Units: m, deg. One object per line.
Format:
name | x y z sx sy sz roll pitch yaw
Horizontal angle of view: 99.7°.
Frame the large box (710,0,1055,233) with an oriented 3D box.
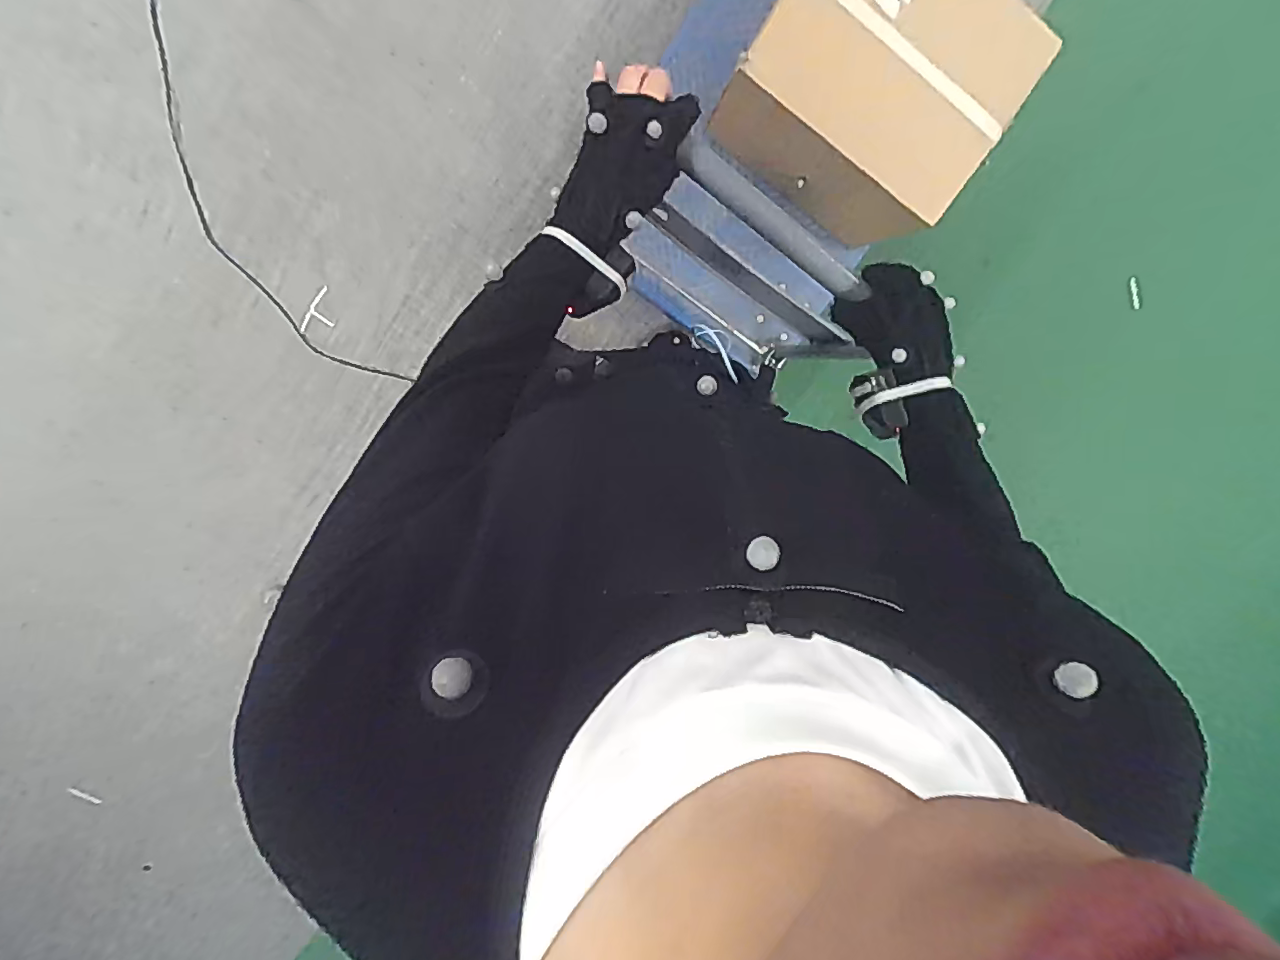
large box | 0.391 -0.710 0.973 0.408 0.320 0.320 30 103 -11
